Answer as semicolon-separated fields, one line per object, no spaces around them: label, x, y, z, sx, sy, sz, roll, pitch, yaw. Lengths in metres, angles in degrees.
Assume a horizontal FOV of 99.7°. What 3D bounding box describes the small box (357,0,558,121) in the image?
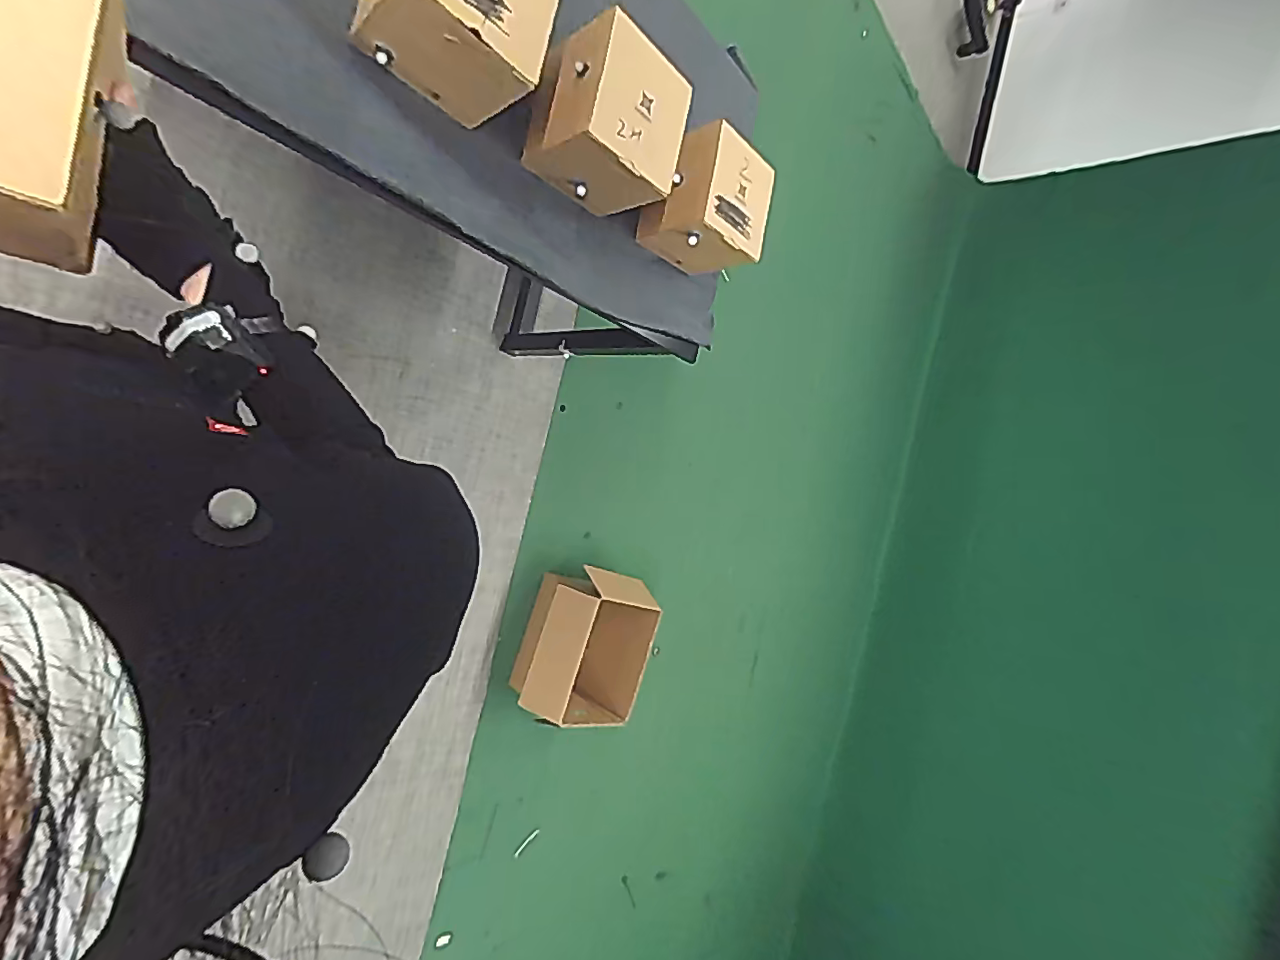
small box;-0.217;-0.581;0.650;0.168;0.176;0.179;16;87;-46

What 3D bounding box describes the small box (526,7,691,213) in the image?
small box;-0.052;-0.541;0.823;0.168;0.176;0.179;13;90;-45

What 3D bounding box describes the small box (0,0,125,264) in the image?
small box;-0.417;-0.250;0.307;0.168;0.176;0.179;9;89;-44
